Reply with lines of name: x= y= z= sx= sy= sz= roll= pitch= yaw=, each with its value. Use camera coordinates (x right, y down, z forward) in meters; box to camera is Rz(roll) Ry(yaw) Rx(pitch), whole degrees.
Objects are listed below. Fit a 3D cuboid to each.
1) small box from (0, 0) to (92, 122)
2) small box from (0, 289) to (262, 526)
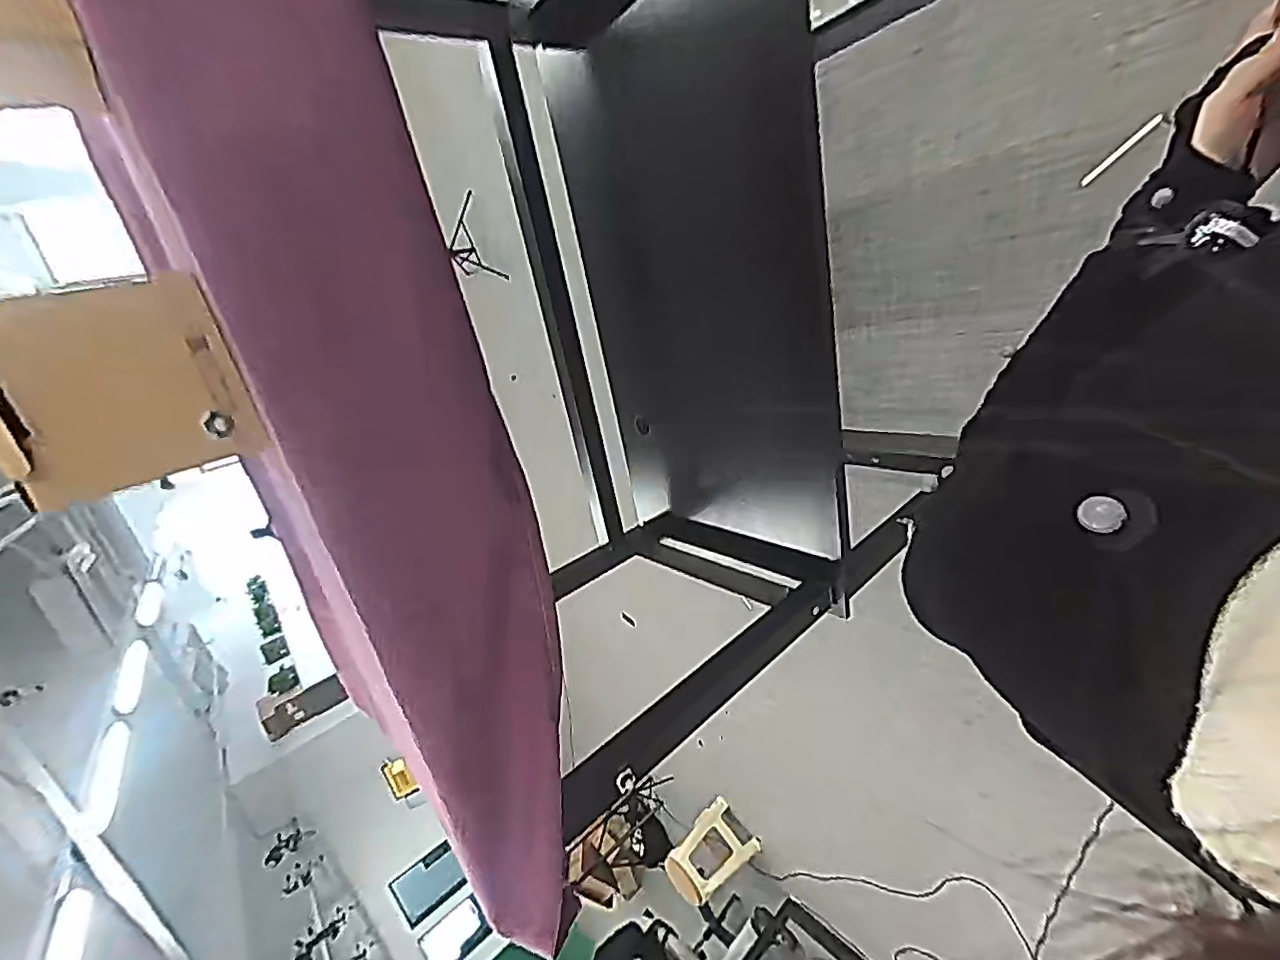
small box: x=-0.548 y=-0.374 z=0.392 sx=0.179 sy=0.176 sz=0.168 roll=18 pitch=126 yaw=48
small box: x=-0.490 y=-0.073 z=0.517 sx=0.179 sy=0.176 sz=0.168 roll=6 pitch=116 yaw=53
